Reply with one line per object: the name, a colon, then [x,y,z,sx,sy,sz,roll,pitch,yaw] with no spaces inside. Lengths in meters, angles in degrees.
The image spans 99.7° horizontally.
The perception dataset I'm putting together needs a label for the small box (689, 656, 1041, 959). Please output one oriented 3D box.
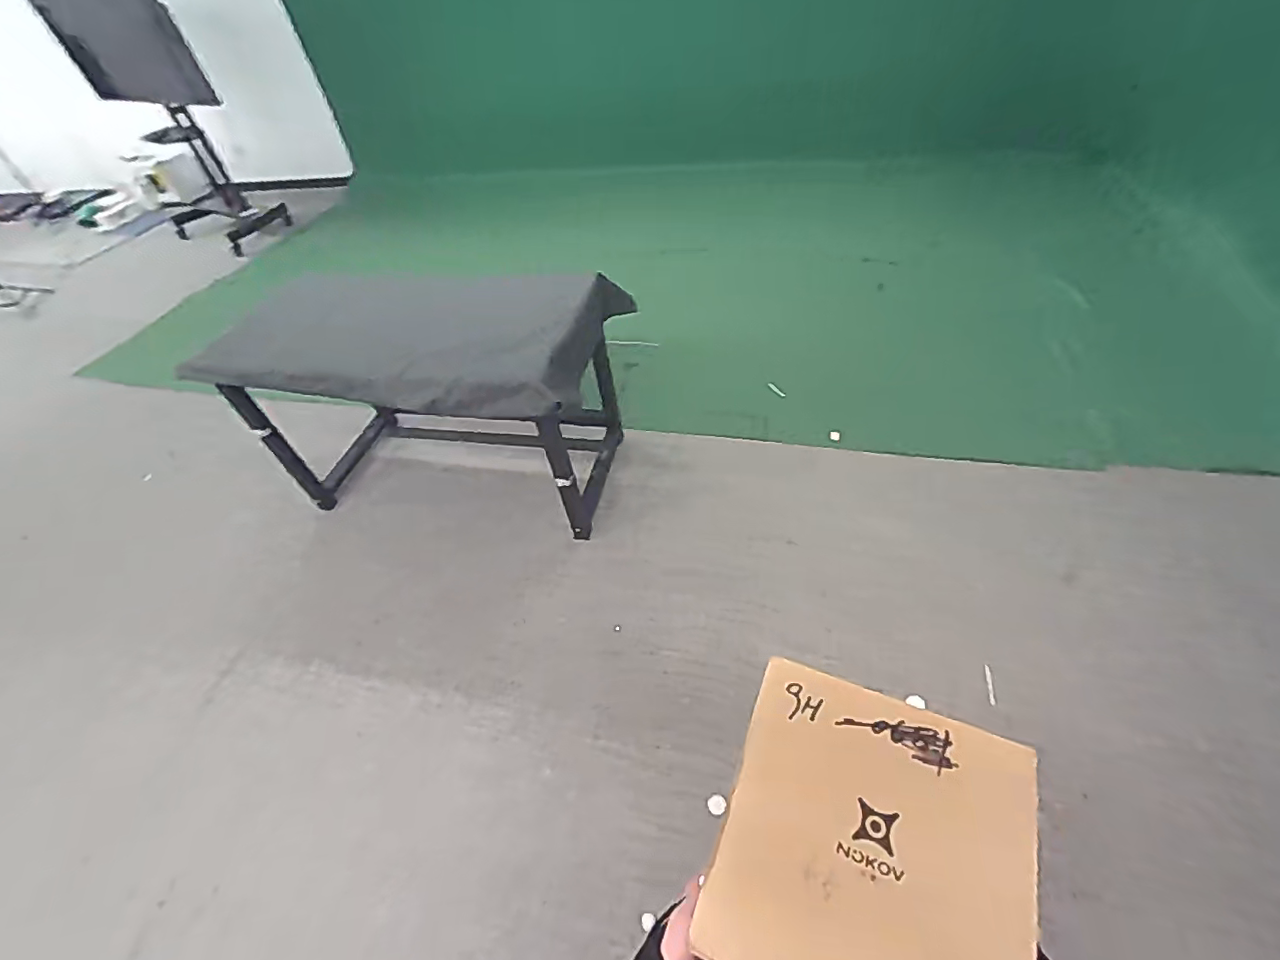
small box: [0.144,0.258,0.373,0.168,0.176,0.179,15,55,19]
